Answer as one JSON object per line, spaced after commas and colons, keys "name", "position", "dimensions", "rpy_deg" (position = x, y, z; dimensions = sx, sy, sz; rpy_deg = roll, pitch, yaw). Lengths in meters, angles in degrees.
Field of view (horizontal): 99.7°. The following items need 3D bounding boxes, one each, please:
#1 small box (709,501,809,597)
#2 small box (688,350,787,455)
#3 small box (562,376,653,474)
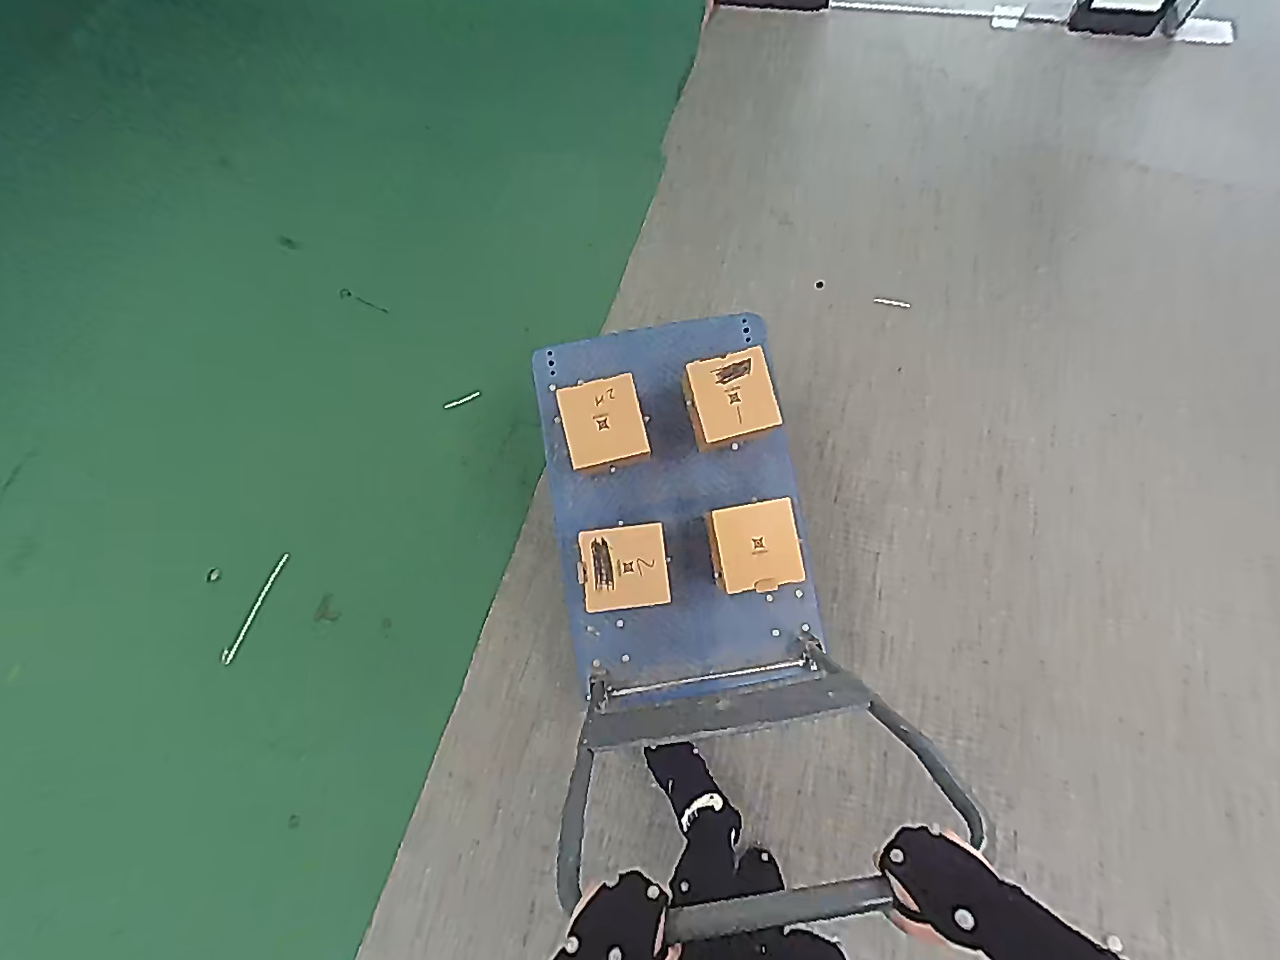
{"name": "small box", "position": [0.249, 0.148, 1.176], "dimensions": [0.168, 0.176, 0.179], "rpy_deg": [-9, 86, 0]}
{"name": "small box", "position": [0.208, -0.165, 1.202], "dimensions": [0.168, 0.176, 0.179], "rpy_deg": [-13, 86, 0]}
{"name": "small box", "position": [-0.067, -0.112, 1.202], "dimensions": [0.168, 0.176, 0.179], "rpy_deg": [-12, 85, -1]}
